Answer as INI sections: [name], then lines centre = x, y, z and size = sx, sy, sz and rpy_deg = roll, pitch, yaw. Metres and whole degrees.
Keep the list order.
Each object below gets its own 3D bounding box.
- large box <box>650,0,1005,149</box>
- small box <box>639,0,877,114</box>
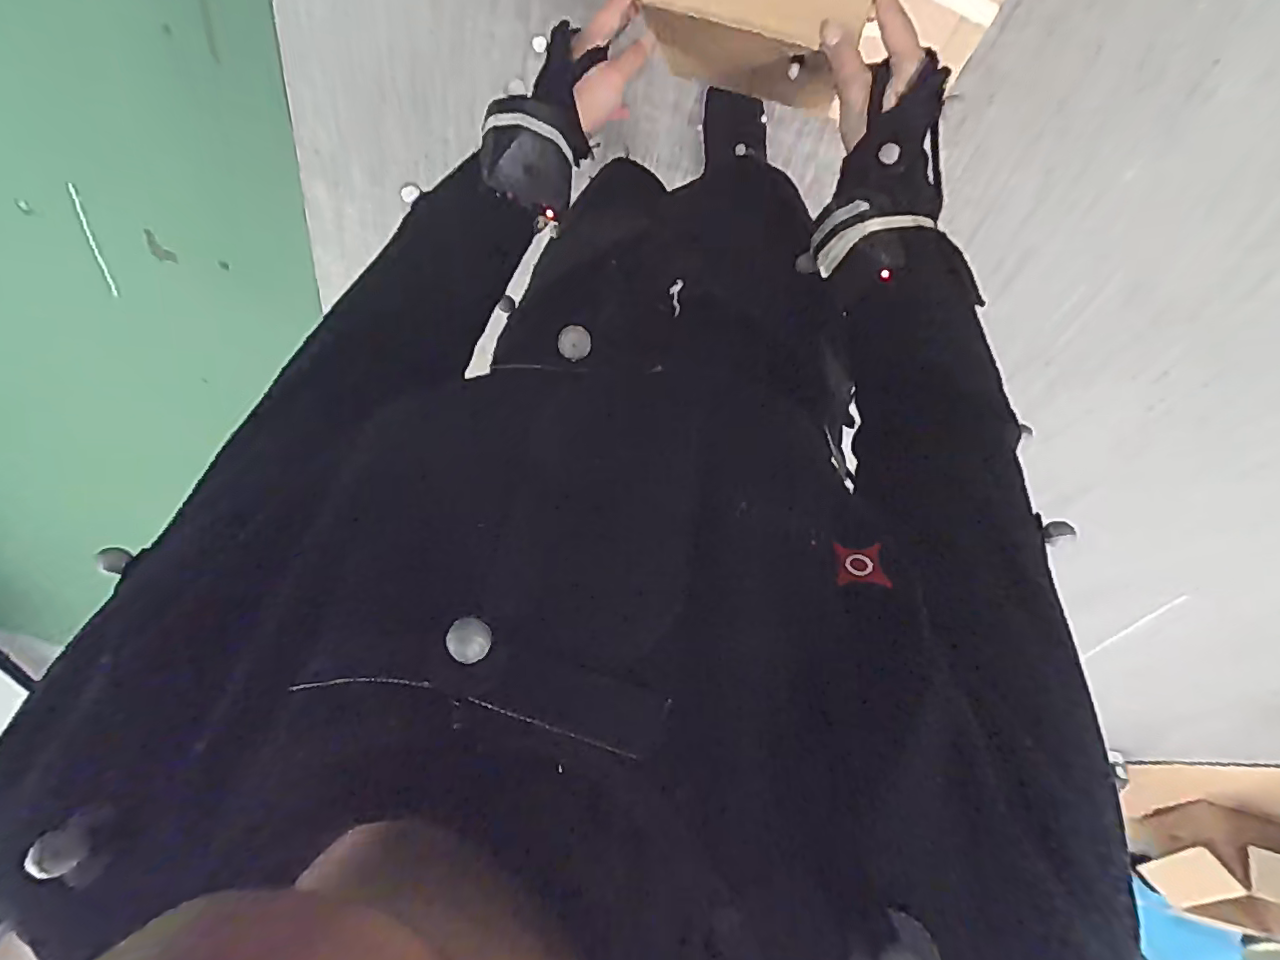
[large box]
centre = 0.267, -0.725, 0.738
size = 0.408, 0.320, 0.320
rpy_deg = 22, 132, -6
[small box]
centre = 0.112, -0.432, 0.444
size = 0.179, 0.176, 0.168
rpy_deg = 18, 112, 4
